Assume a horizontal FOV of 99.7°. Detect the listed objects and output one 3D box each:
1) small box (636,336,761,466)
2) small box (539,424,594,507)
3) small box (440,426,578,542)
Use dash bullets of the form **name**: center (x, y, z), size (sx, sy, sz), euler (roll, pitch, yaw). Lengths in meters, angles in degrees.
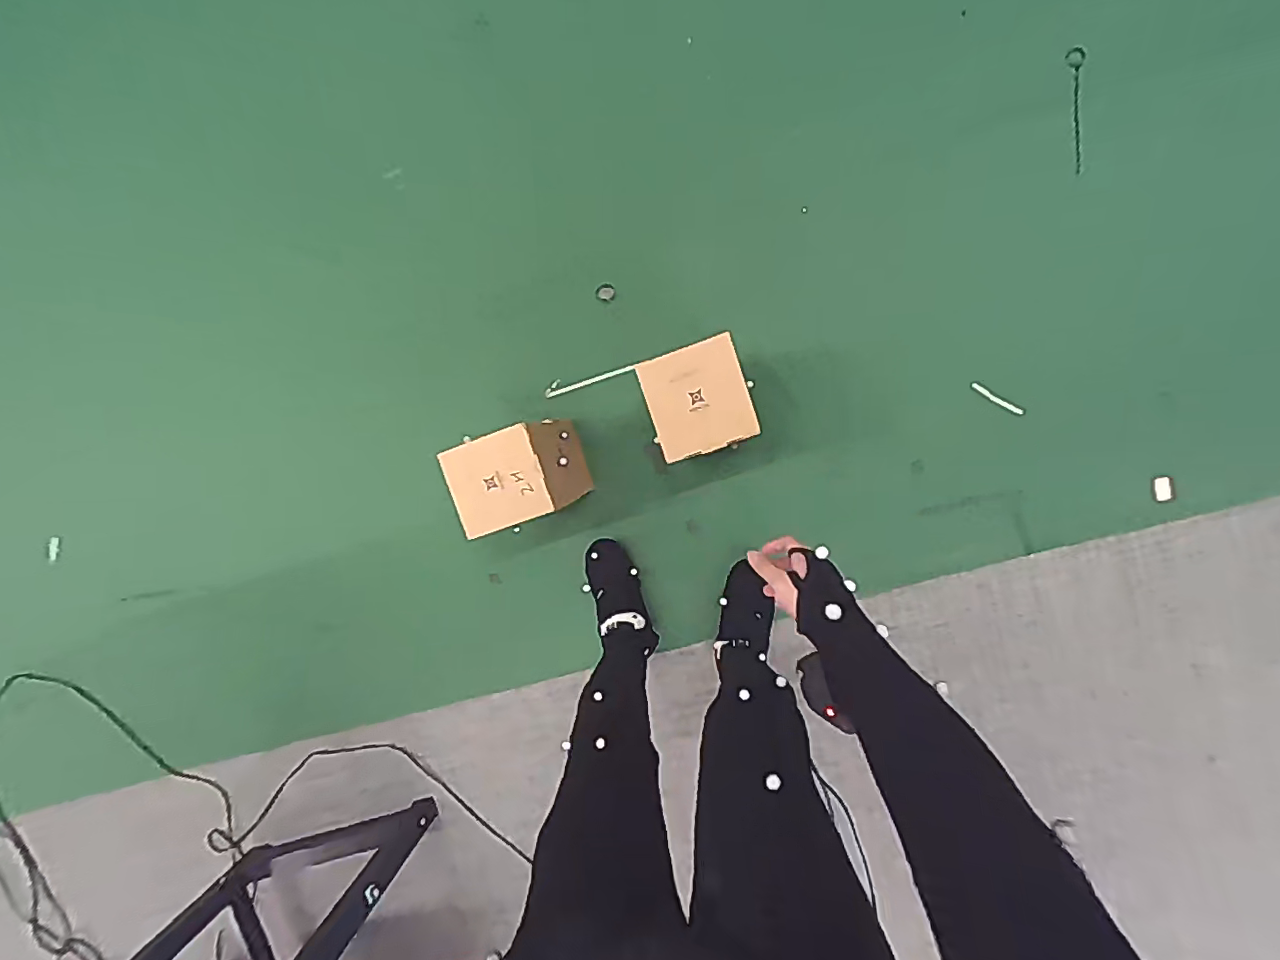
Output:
- **small box**: center (0.106, -0.137, 0.964), size (0.168, 0.176, 0.179), euler (-18, 93, 8)
- **small box**: center (-0.216, -0.018, 1.186), size (0.168, 0.176, 0.179), euler (-19, 92, 10)
- **small box**: center (-0.239, 0.003, 1.025), size (0.179, 0.176, 0.168), euler (-19, 92, 9)
